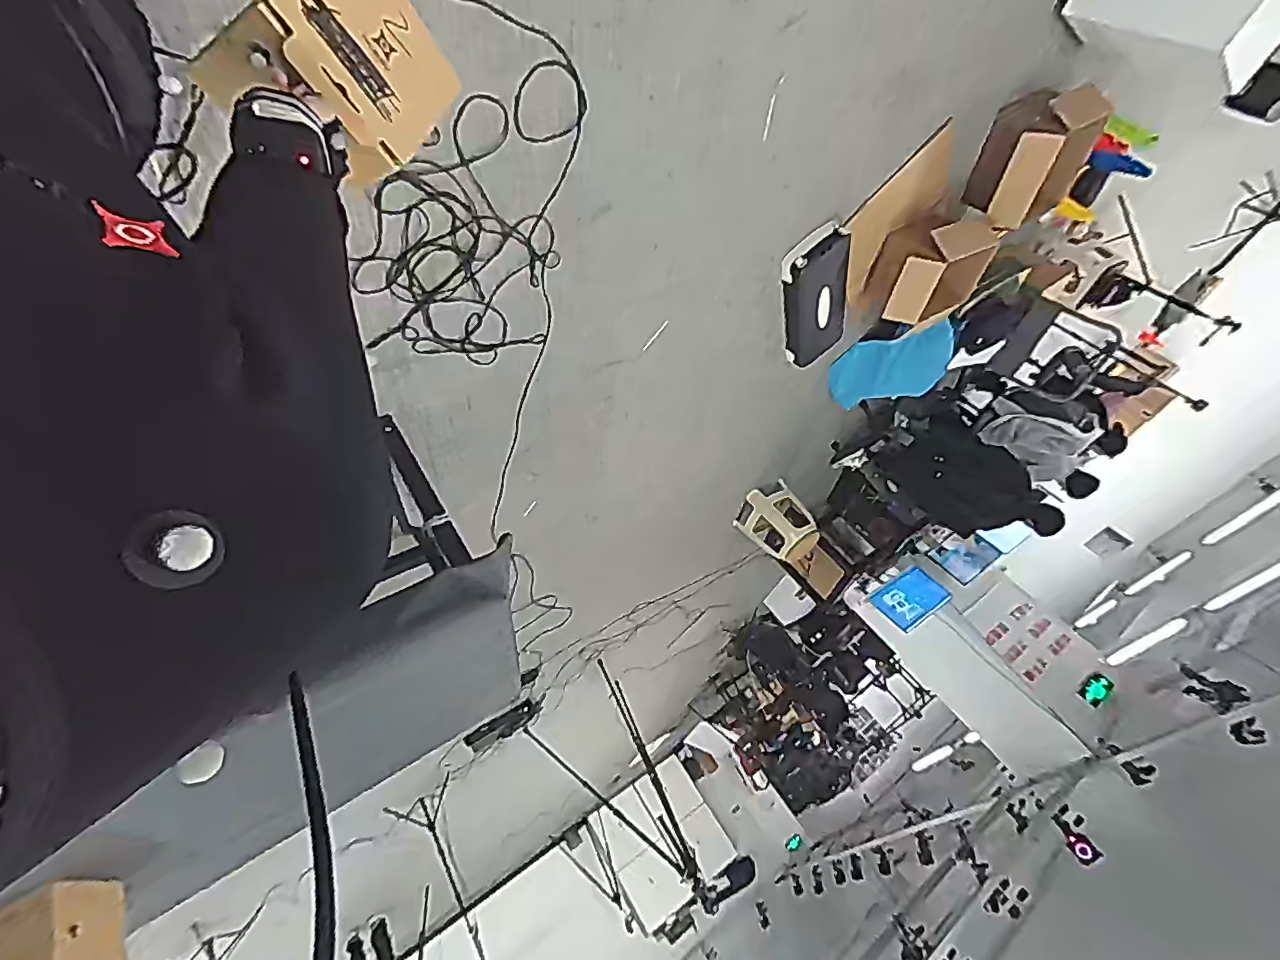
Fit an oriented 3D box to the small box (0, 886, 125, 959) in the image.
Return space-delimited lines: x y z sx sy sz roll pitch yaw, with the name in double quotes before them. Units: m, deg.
"small box" -1.052 0.839 0.933 0.168 0.176 0.179 -27 149 -20
